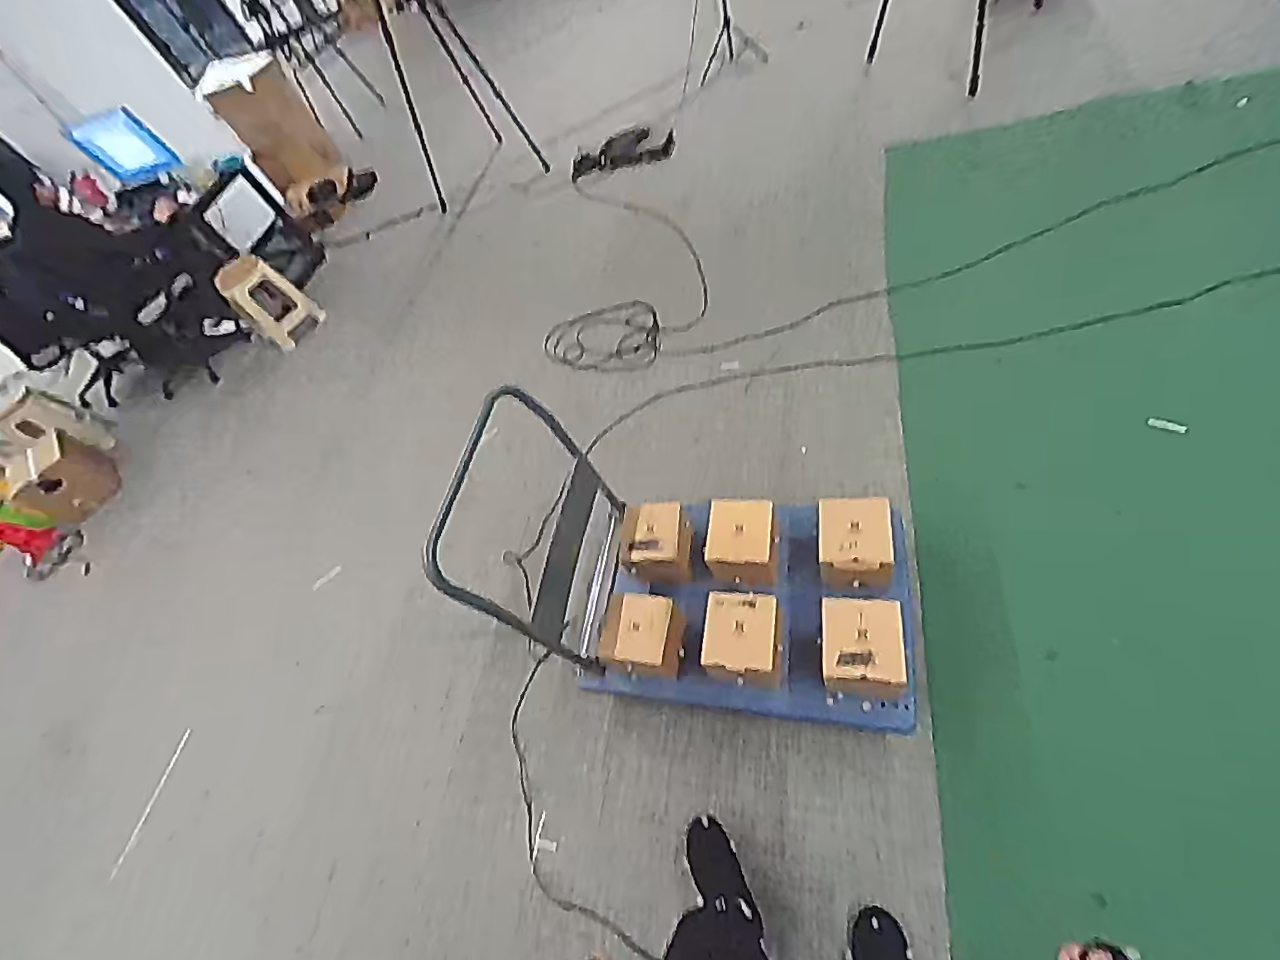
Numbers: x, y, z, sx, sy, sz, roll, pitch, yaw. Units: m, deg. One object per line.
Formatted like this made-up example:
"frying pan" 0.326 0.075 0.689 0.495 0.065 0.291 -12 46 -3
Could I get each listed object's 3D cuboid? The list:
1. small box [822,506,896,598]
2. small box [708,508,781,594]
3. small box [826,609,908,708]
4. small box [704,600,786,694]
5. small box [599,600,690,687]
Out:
"small box" 0.553 0.183 1.374 0.168 0.176 0.179 -2 57 21
"small box" 0.292 0.193 1.474 0.168 0.176 0.179 0 59 21
"small box" 0.520 0.415 1.249 0.168 0.176 0.179 -1 56 20
"small box" 0.264 0.414 1.330 0.168 0.176 0.179 0 58 21
"small box" 0.019 0.431 1.416 0.179 0.176 0.168 2 58 21
